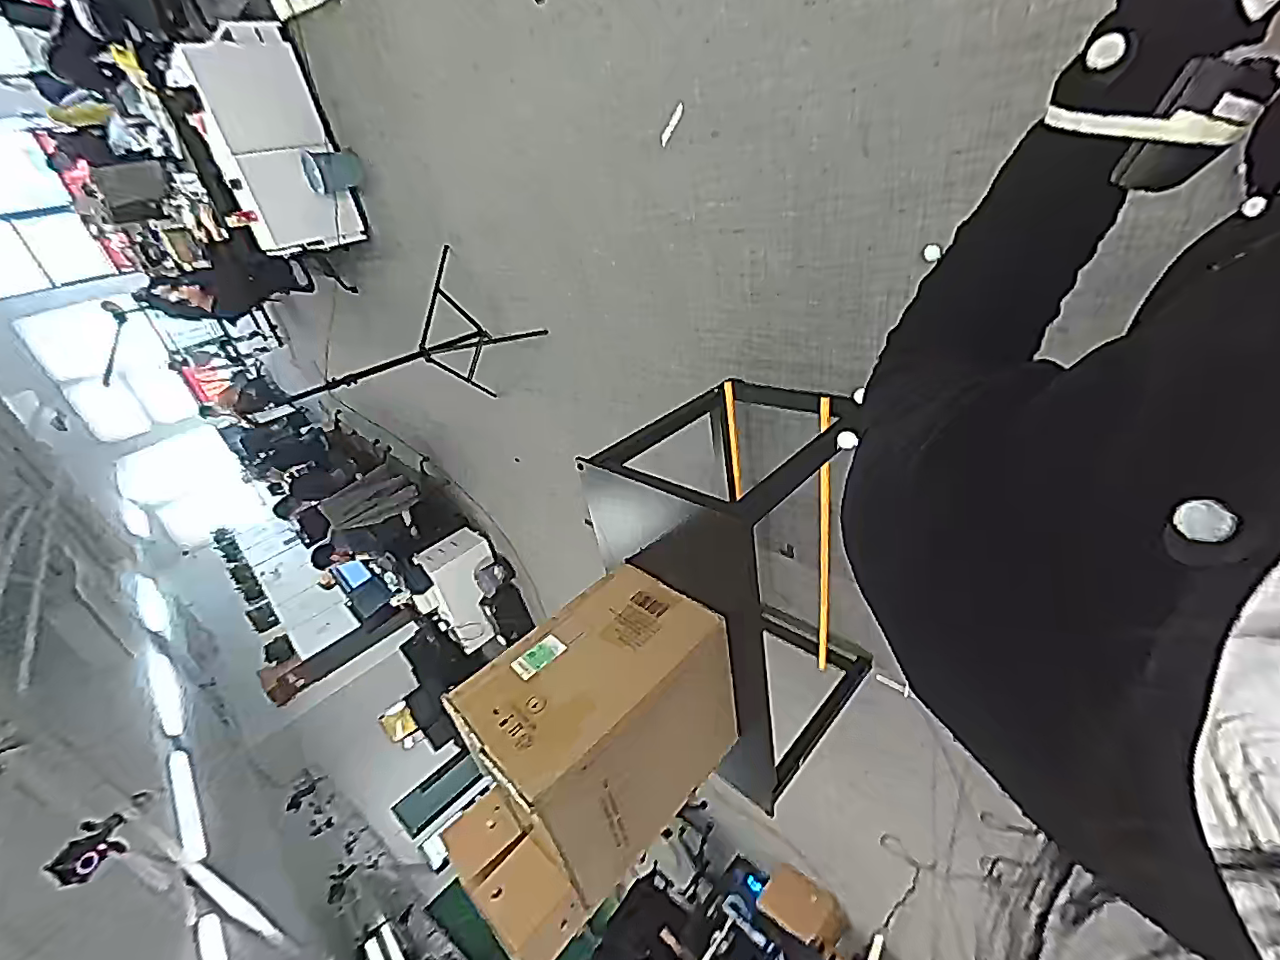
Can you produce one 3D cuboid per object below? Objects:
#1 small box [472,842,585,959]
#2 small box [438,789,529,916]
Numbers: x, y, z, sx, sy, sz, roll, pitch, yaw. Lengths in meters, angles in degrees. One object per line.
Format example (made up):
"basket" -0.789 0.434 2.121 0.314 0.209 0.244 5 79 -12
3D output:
"small box" -0.256 0.994 1.264 0.179 0.176 0.168 18 131 41
"small box" -0.391 0.961 1.407 0.168 0.176 0.179 23 133 44
